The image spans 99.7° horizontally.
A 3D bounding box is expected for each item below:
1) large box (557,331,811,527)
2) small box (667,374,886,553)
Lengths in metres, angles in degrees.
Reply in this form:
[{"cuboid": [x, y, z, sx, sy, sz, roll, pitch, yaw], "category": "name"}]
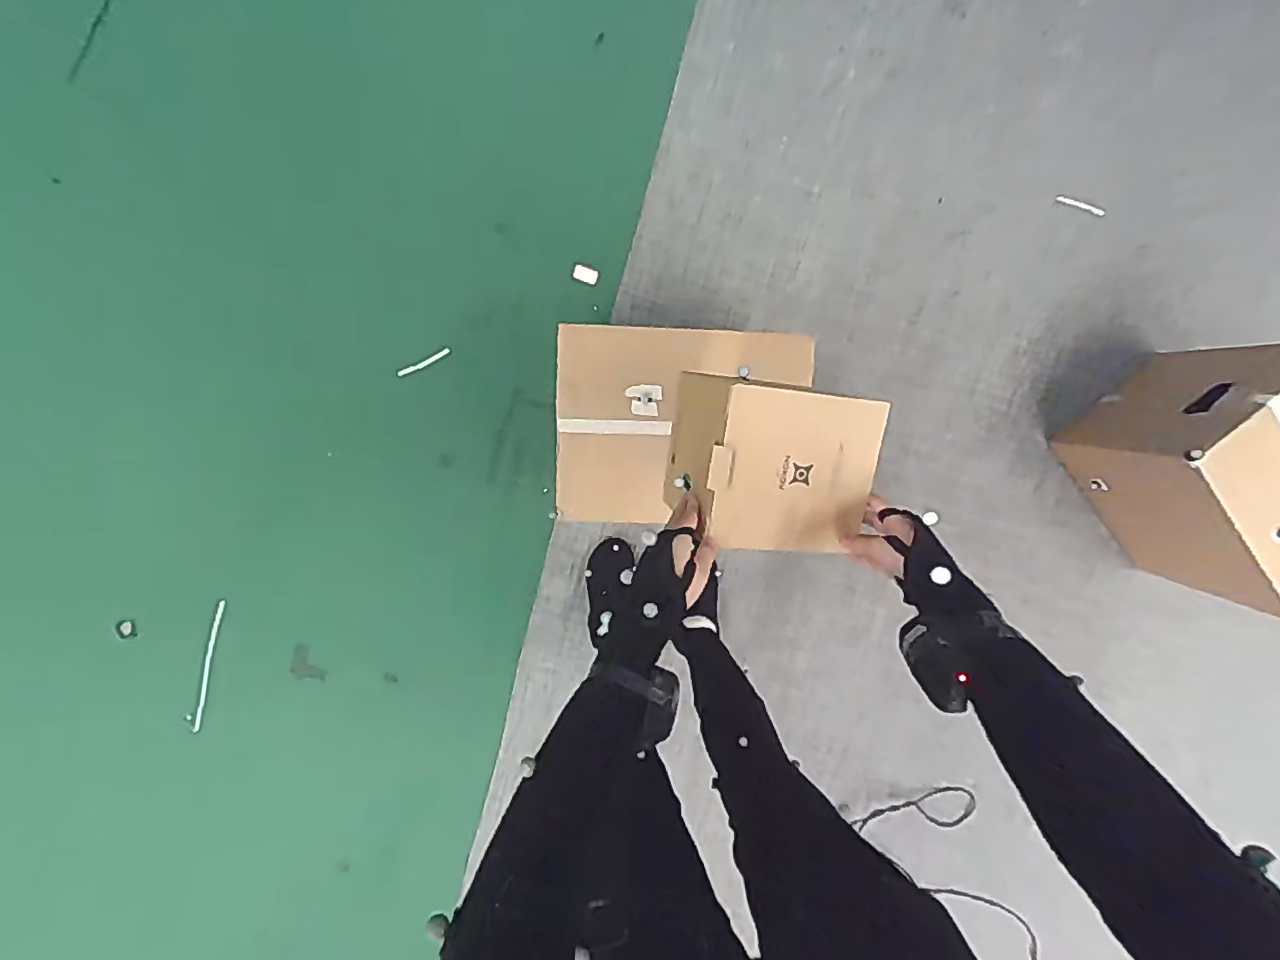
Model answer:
[{"cuboid": [0.067, -0.099, 1.007, 0.408, 0.320, 0.320, 1, 98, -2], "category": "large box"}, {"cuboid": [0.139, -0.027, 0.617, 0.179, 0.176, 0.168, 4, 104, -14], "category": "small box"}]
